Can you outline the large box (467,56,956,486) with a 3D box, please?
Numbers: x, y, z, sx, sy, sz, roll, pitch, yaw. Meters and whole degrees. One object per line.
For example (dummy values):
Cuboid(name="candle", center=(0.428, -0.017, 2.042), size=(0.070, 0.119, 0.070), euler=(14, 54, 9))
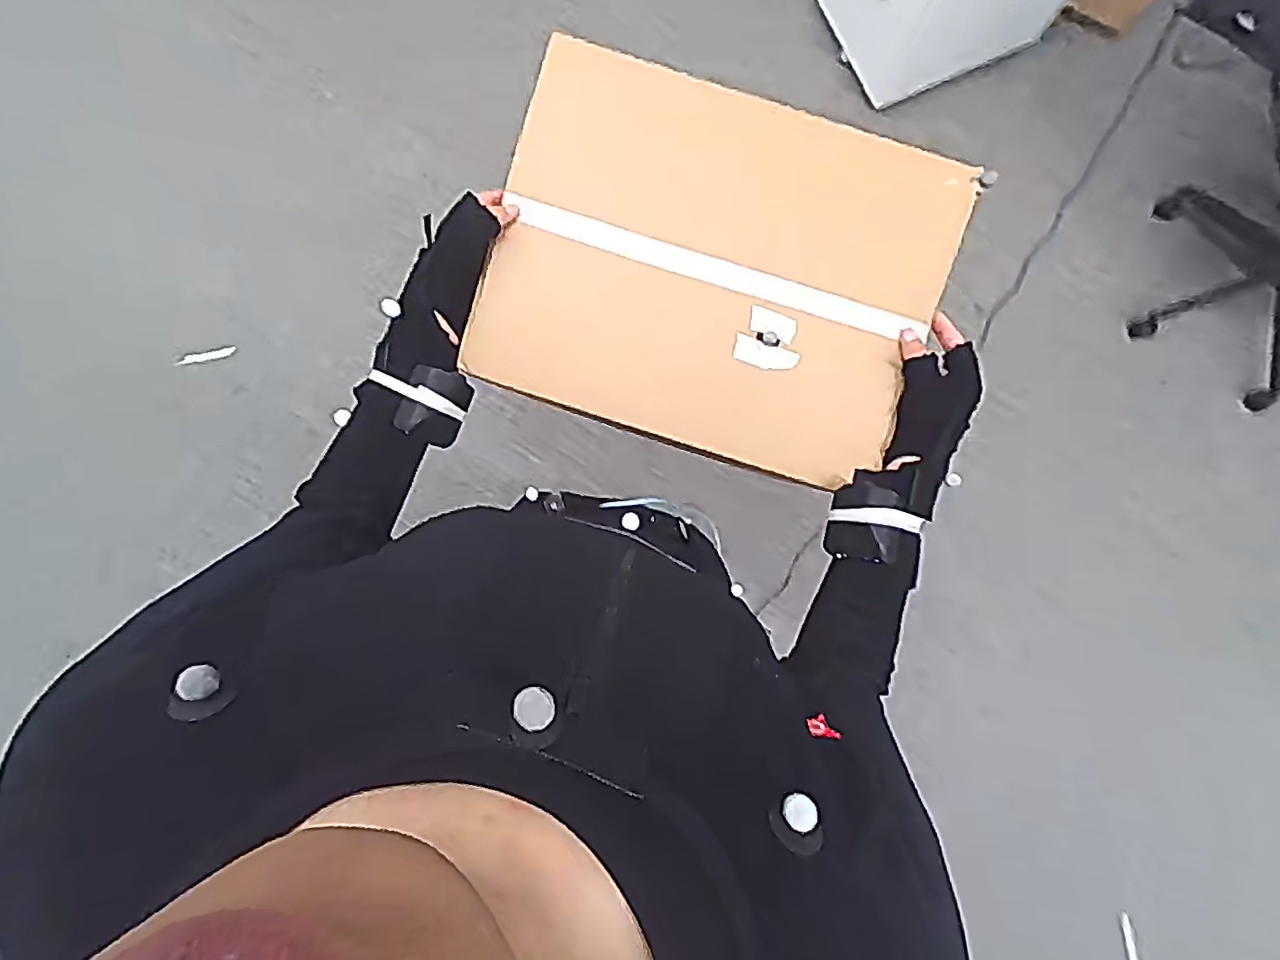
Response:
Cuboid(name="large box", center=(0.063, -0.201, 0.657), size=(0.408, 0.320, 0.320), euler=(17, 94, -1))
